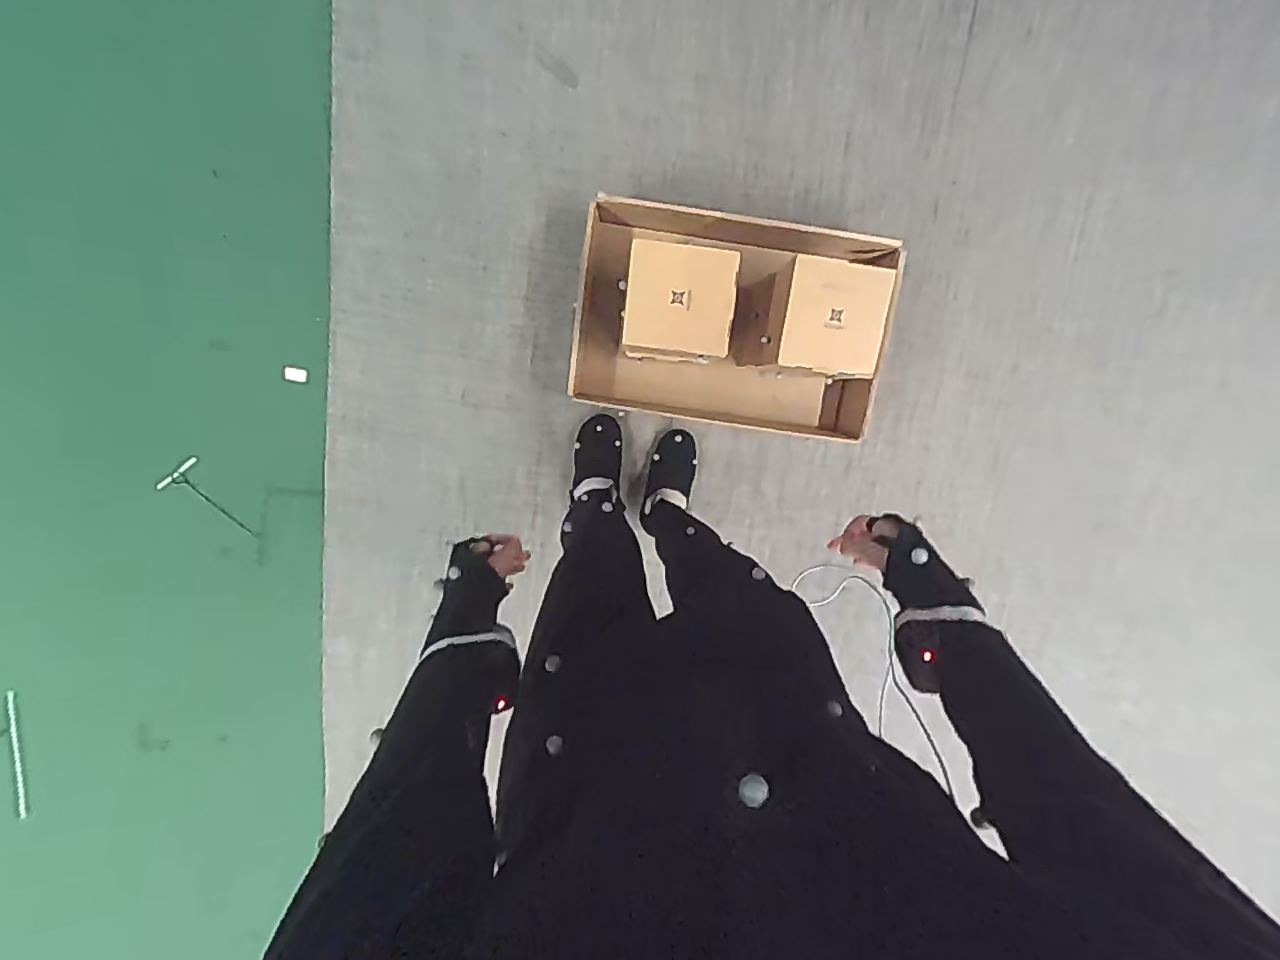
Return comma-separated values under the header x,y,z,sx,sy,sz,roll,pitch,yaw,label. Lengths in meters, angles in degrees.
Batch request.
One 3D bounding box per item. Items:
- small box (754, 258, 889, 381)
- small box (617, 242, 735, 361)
x,y,z,sx,sy,sz,roll,pitch,yaw,label
0.309,-0.276,0.963,0.168,0.176,0.179,8,100,-3,small box
0.055,-0.304,0.954,0.179,0.176,0.168,6,100,-3,small box
